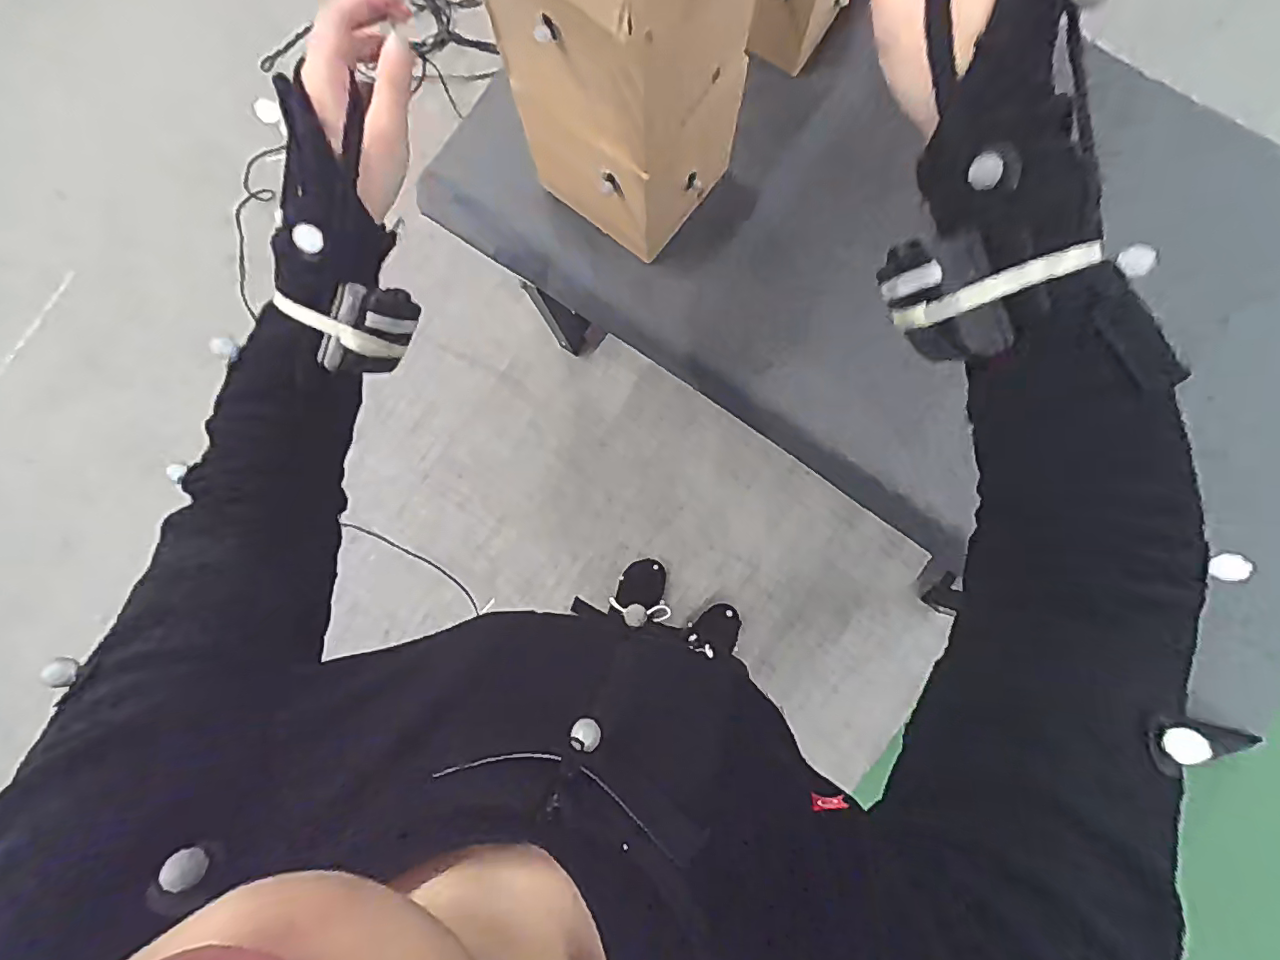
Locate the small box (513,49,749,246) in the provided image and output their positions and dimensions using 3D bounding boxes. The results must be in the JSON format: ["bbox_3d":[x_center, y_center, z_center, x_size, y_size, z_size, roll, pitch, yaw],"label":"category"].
[{"bbox_3d":[-0.007,-0.398,0.608,0.179,0.176,0.168,38,87,4],"label":"small box"}]

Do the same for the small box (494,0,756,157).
[{"bbox_3d":[-0.013,-0.417,0.446,0.179,0.176,0.168,34,87,5],"label":"small box"}]
